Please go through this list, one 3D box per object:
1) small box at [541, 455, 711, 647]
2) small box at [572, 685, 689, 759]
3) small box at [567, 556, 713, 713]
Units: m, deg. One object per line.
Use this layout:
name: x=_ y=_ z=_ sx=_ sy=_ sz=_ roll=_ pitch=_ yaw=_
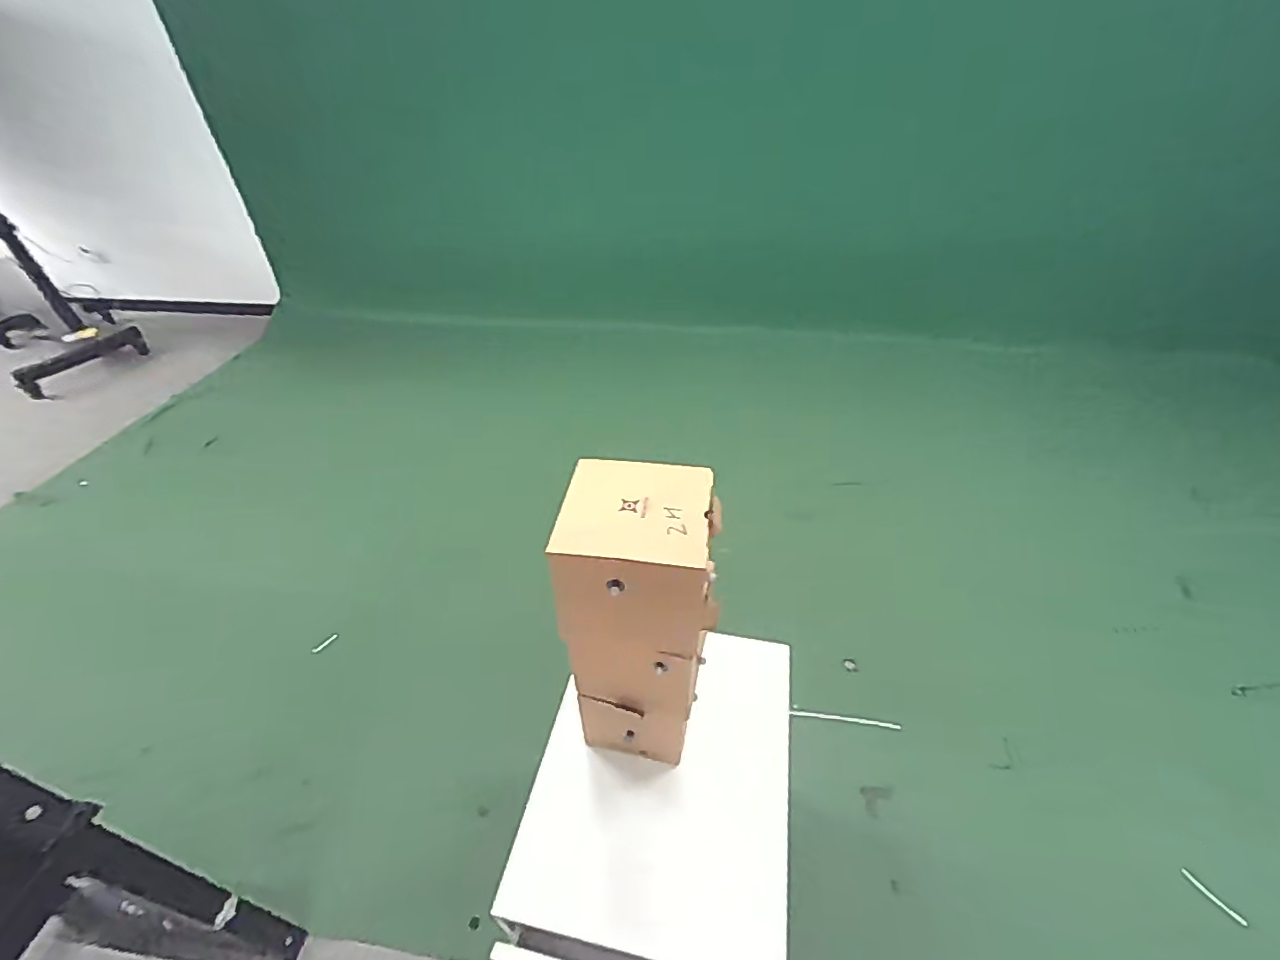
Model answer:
small box: x=-0.008 y=0.088 z=0.675 sx=0.179 sy=0.176 sz=0.168 roll=5 pitch=42 yaw=6
small box: x=0.000 y=0.331 z=0.895 sx=0.168 sy=0.176 sz=0.179 roll=8 pitch=42 yaw=10
small box: x=0.000 y=0.210 z=0.785 sx=0.179 sy=0.176 sz=0.168 roll=10 pitch=42 yaw=12
